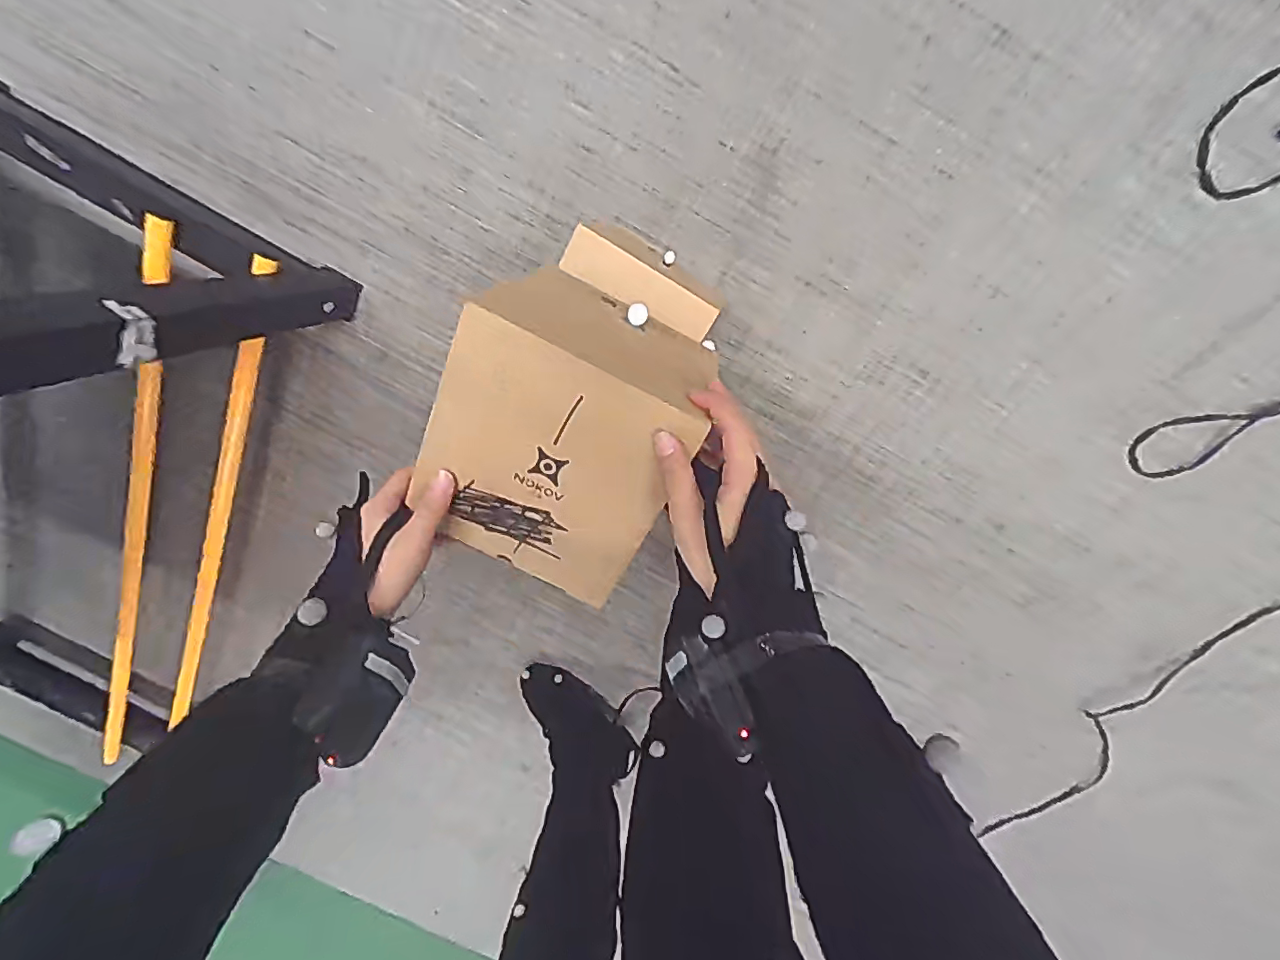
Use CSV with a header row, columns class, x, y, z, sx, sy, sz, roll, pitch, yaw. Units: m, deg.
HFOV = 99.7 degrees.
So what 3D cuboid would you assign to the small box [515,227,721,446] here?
class,x,y,z,sx,sy,sz,roll,pitch,yaw
small box,-0.018,-0.176,0.647,0.168,0.176,0.179,31,115,-4
